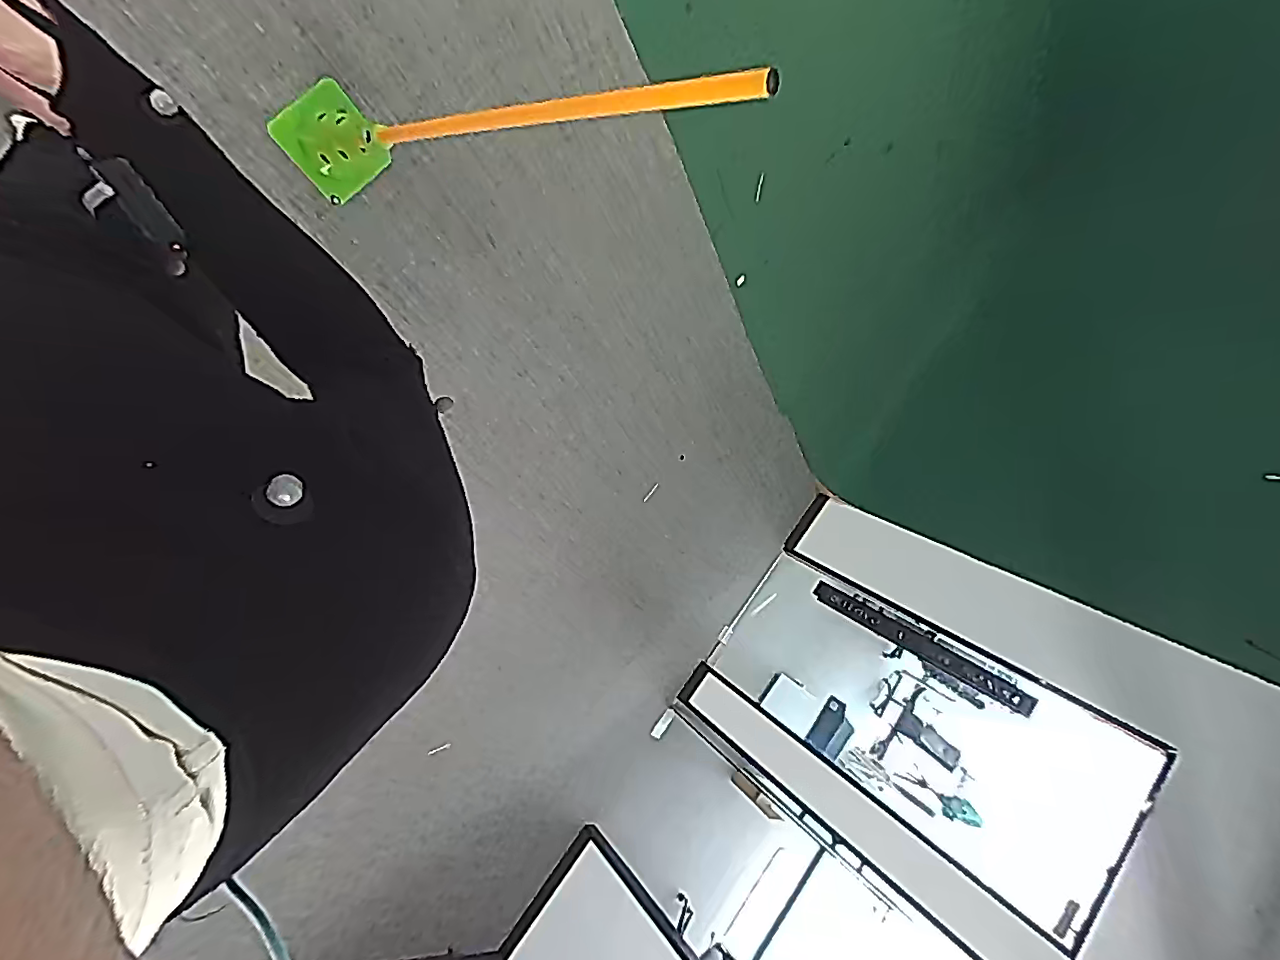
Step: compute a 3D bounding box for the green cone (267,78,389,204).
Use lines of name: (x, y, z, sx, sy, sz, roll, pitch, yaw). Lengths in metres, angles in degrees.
green cone: (-0.621, -0.740, 1.171, 0.200, 0.368, 0.202, -51, 137, -12)
